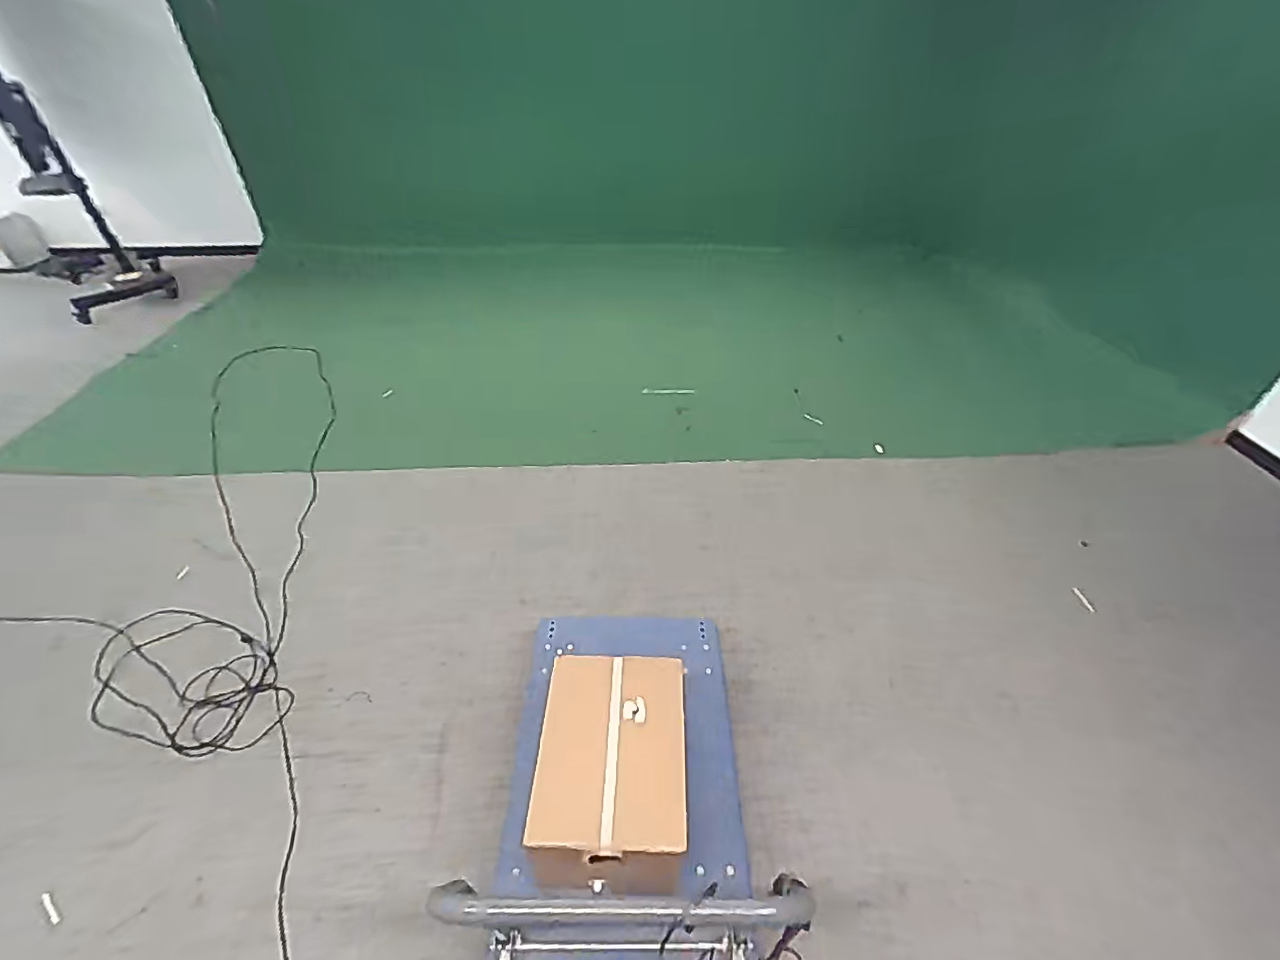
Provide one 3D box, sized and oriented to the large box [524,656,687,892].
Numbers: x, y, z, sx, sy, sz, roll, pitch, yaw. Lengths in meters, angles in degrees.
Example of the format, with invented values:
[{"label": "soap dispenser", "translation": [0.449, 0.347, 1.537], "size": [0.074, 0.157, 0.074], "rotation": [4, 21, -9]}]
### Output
[{"label": "large box", "translation": [-0.063, 0.672, 1.250], "size": [0.320, 0.320, 0.408], "rotation": [2, 40, 1]}]
